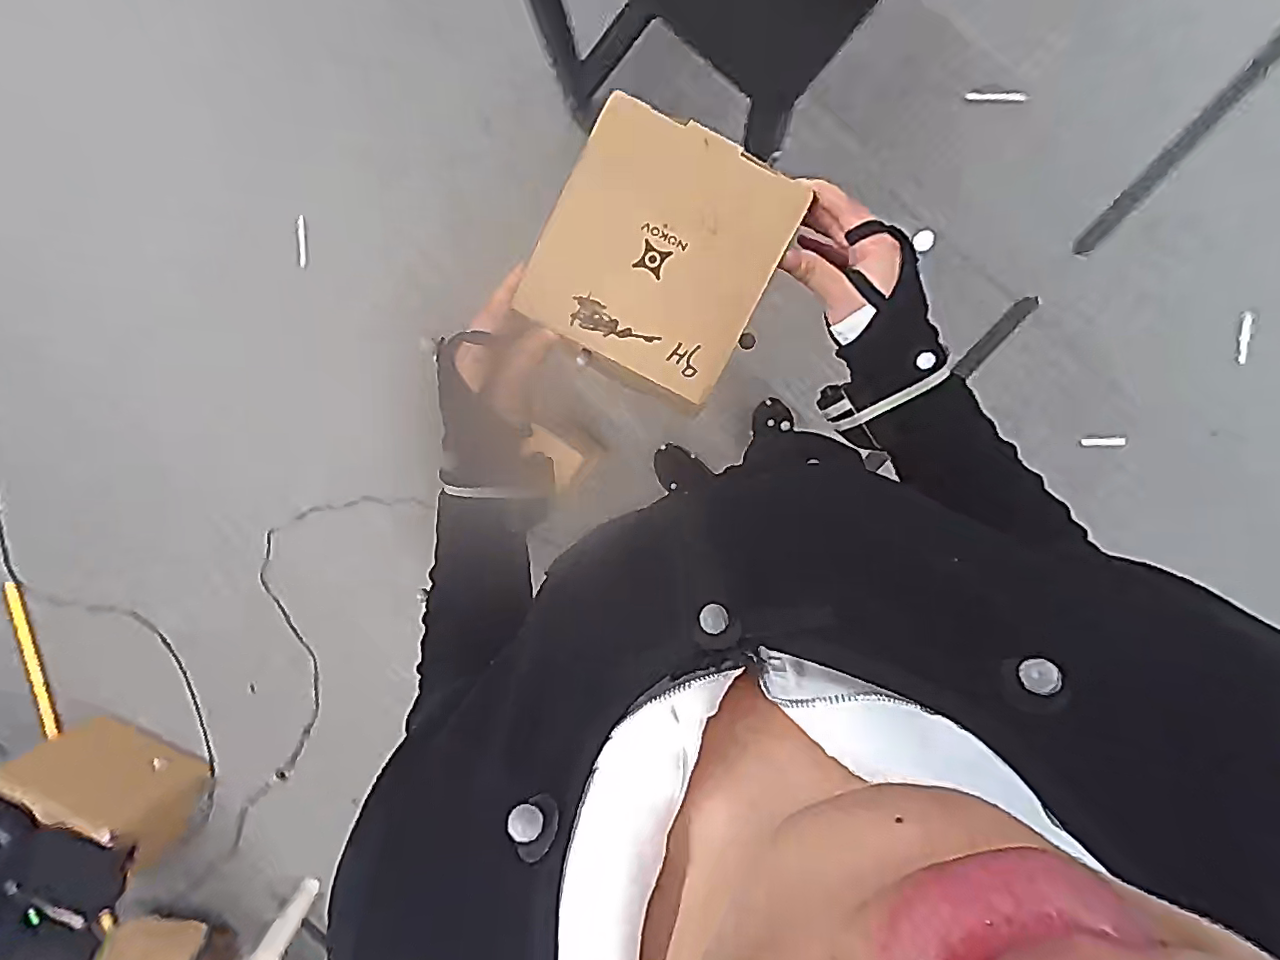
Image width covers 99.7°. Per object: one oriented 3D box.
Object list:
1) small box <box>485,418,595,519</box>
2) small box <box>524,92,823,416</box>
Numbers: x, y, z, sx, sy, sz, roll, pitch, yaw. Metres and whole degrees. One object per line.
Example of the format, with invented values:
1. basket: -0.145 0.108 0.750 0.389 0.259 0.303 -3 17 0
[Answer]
1. small box: -0.228 -0.033 1.286 0.179 0.176 0.168 34 97 3
2. small box: 0.026 -0.173 0.476 0.168 0.176 0.179 29 93 2
